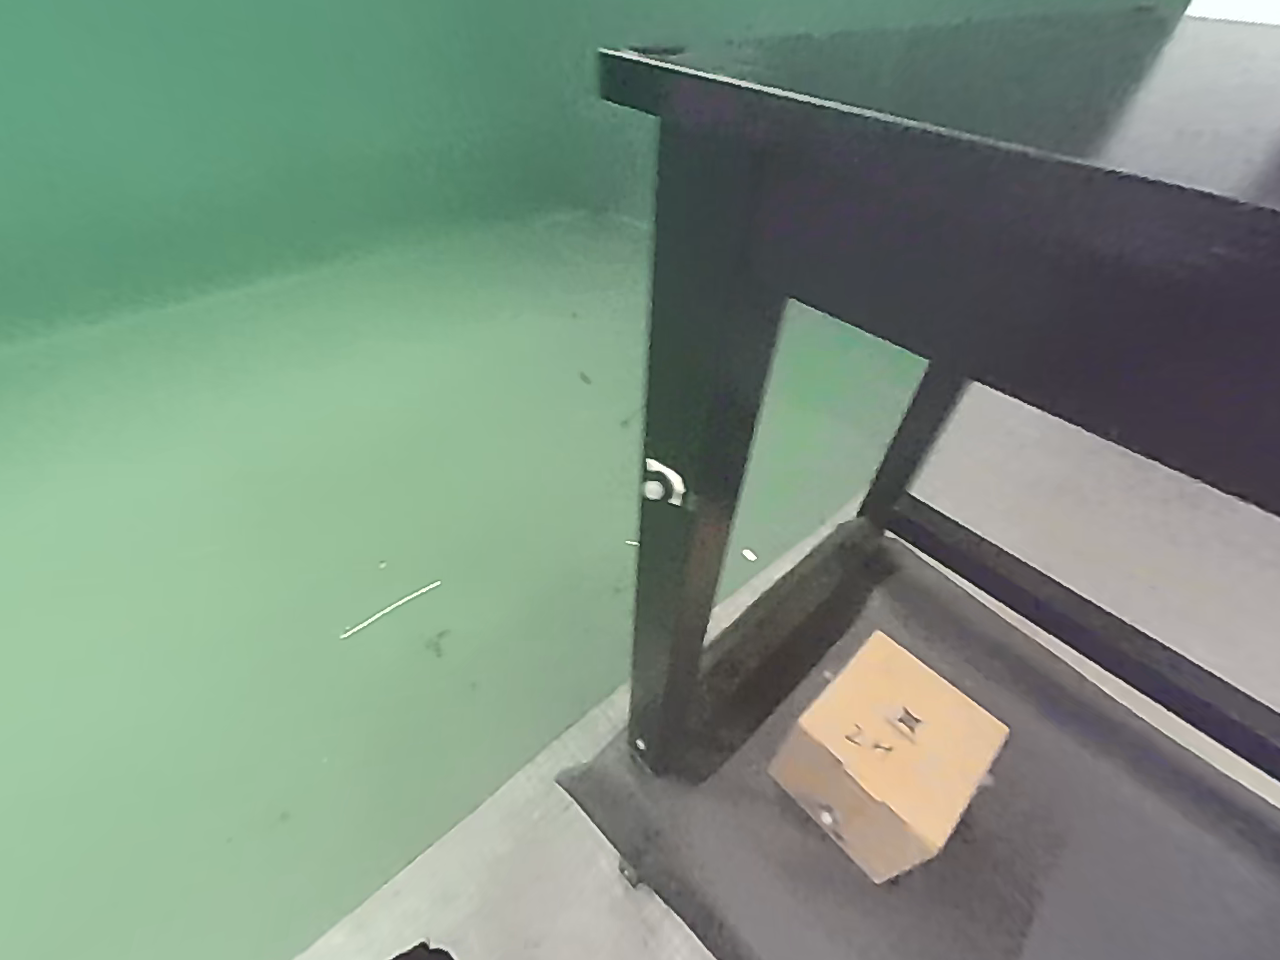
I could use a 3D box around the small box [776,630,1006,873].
[{"bbox_3d":[0.289,0.327,0.657,0.179,0.176,0.168,-31,54,-30],"label":"small box"}]
